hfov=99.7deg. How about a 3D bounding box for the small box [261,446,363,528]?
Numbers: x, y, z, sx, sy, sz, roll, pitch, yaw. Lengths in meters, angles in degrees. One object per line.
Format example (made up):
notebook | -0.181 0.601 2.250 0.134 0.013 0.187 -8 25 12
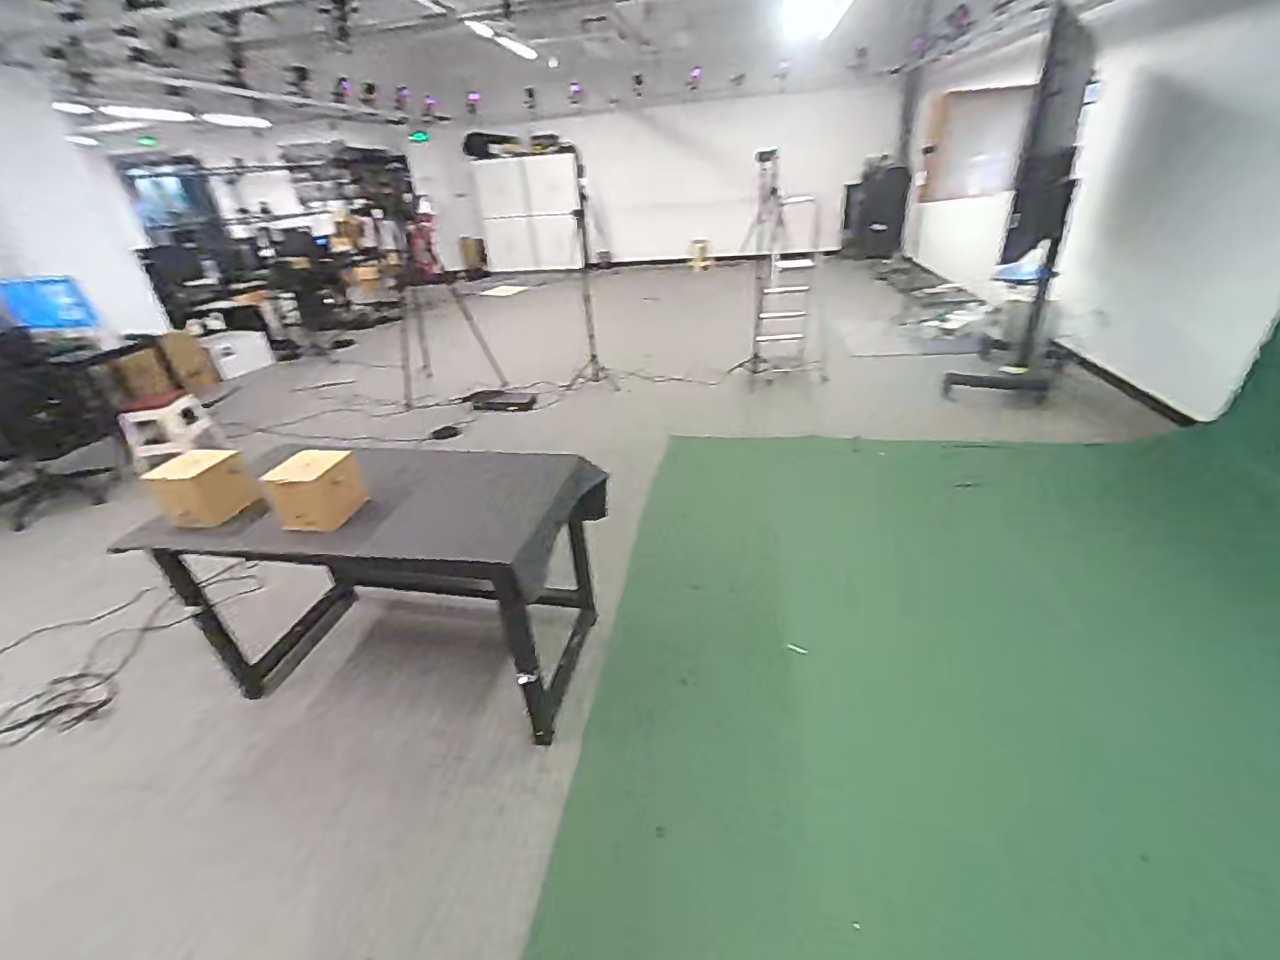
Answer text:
small box | -0.929 0.018 1.557 0.168 0.176 0.179 2 31 10

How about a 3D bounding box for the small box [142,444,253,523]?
small box | -1.300 0.008 1.610 0.168 0.176 0.179 2 30 9
